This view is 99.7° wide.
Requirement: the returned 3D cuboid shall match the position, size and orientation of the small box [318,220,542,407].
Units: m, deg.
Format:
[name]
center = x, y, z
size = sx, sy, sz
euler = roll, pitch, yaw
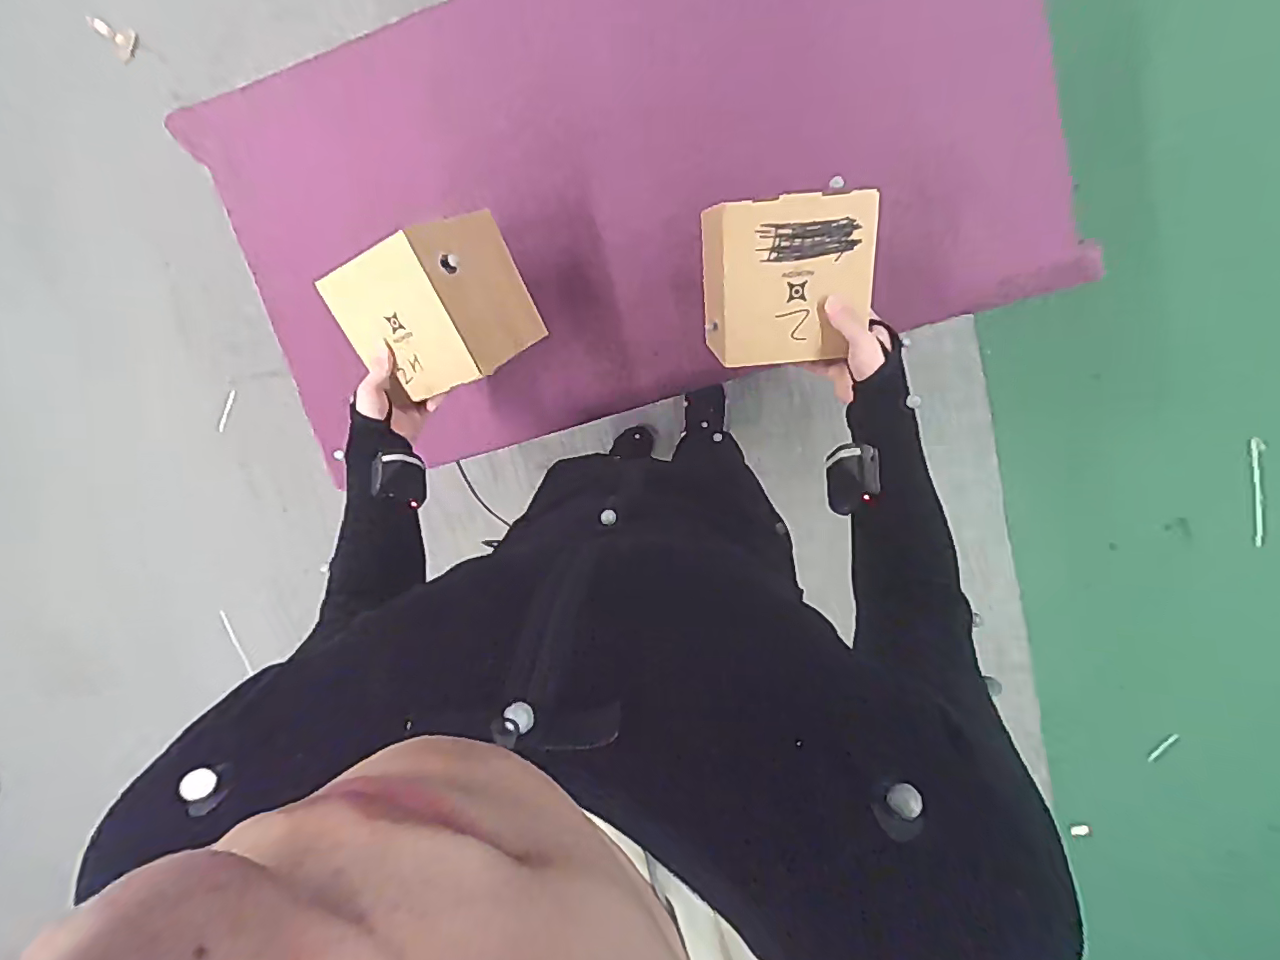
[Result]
[small box]
center = -0.261, -0.222, 0.708
size = 0.168, 0.176, 0.179
euler = -11, 117, 29
